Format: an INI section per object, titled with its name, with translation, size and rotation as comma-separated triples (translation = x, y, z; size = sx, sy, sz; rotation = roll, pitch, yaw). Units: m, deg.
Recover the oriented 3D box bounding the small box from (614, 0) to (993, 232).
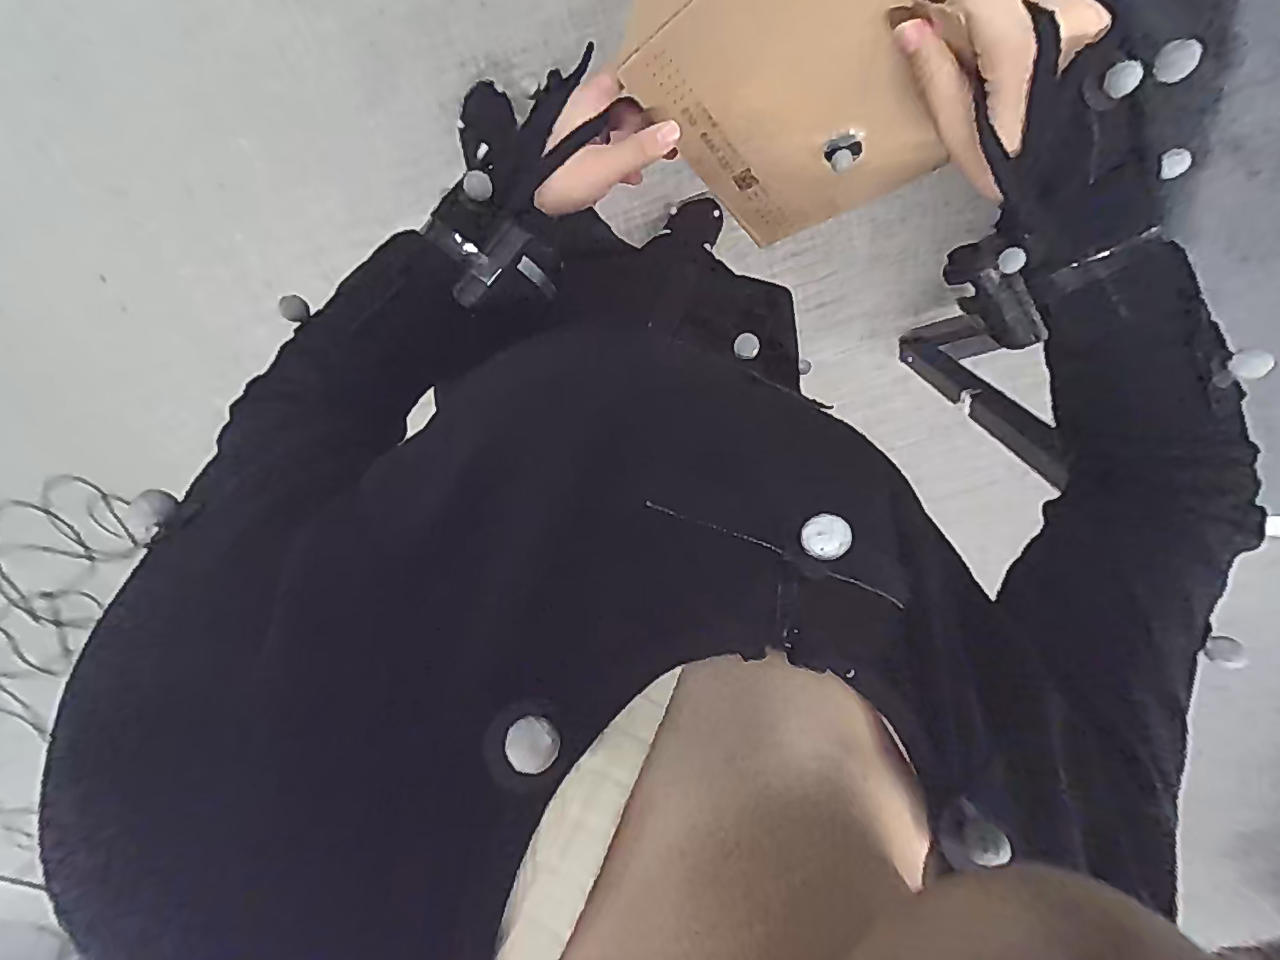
[small box]
translation = 0.105, -0.300, 0.345
size = 0.176, 0.179, 0.168
rotation = -8, 152, 43
